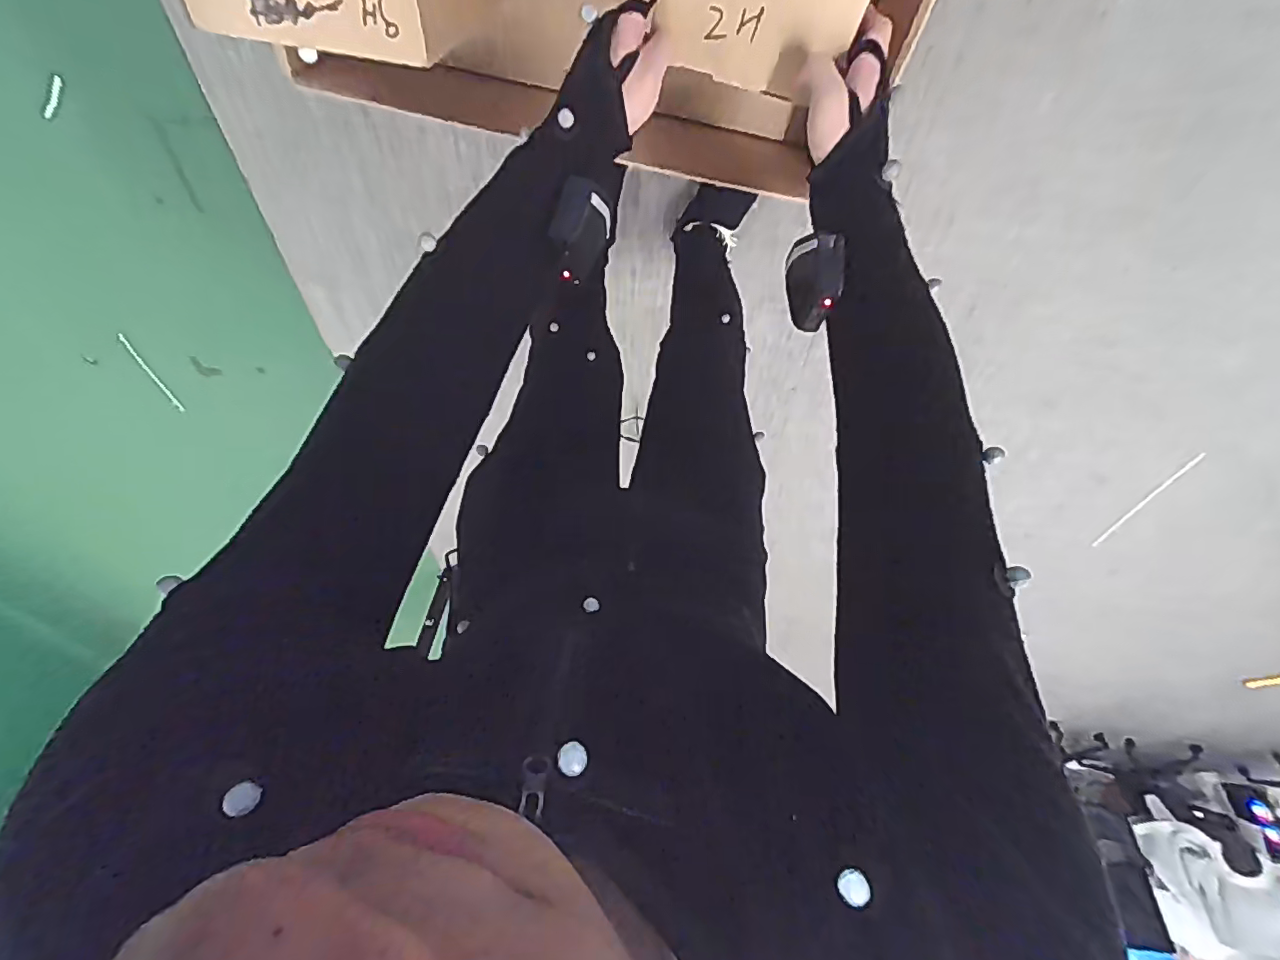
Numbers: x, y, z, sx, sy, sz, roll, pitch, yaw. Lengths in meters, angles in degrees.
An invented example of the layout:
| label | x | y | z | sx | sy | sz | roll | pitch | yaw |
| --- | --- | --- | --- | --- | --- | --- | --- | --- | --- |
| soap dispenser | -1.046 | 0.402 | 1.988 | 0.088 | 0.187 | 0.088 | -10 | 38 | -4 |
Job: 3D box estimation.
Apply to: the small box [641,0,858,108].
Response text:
| label | x | y | z | sx | sy | sz | roll | pitch | yaw |
| --- | --- | --- | --- | --- | --- | --- | --- | --- | --- |
| small box | 0.103 | -0.466 | 0.462 | 0.168 | 0.176 | 0.179 | 12 | 142 | -6 |

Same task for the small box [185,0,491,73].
| label | x | y | z | sx | sy | sz | roll | pitch | yaw |
| --- | --- | --- | --- | --- | --- | --- | --- | --- | --- |
| small box | -0.214 | -0.419 | 0.371 | 0.168 | 0.176 | 0.179 | 10 | 142 | 1 |

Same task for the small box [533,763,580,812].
| label | x | y | z | sx | sy | sz | roll | pitch | yaw |
| --- | --- | --- | --- | --- | --- | --- | --- | --- | --- |
| small box | -0.359 | 1.326 | 2.357 | 0.168 | 0.176 | 0.179 | 7 | 140 | 3 |

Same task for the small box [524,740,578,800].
| label | x | y | z | sx | sy | sz | roll | pitch | yaw |
| --- | --- | --- | --- | --- | --- | --- | --- | --- | --- |
| small box | -0.341 | 1.126 | 2.100 | 0.168 | 0.176 | 0.179 | 5 | 143 | 3 |
